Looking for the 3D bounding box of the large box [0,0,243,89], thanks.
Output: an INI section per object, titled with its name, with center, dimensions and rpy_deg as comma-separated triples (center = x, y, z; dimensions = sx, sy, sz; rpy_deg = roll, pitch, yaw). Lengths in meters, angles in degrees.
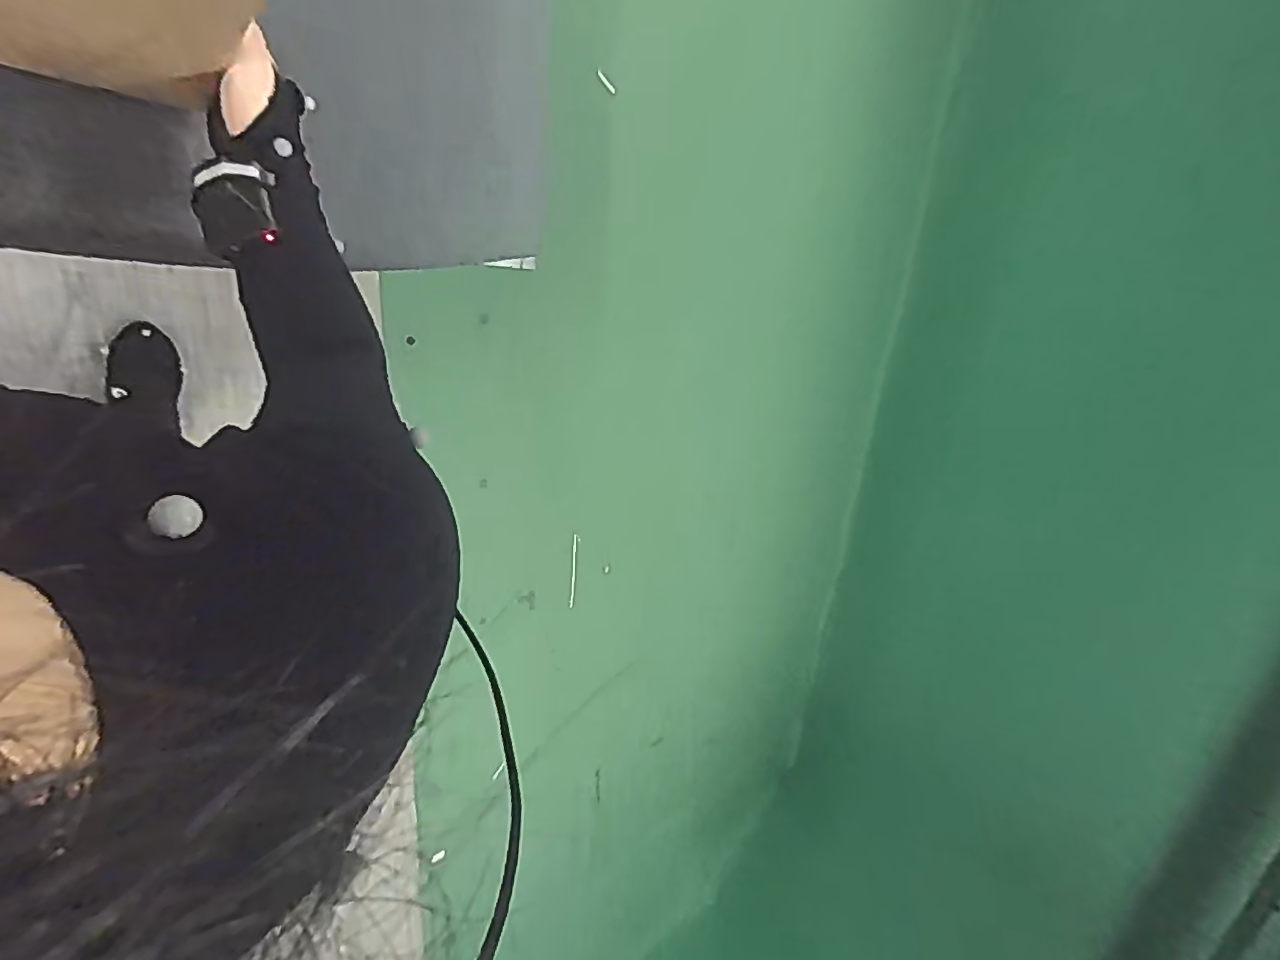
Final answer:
[large box]
center = -0.434, -0.442, 0.220
dimensions = 0.408, 0.320, 0.320
rpy_deg = -15, 109, -45
